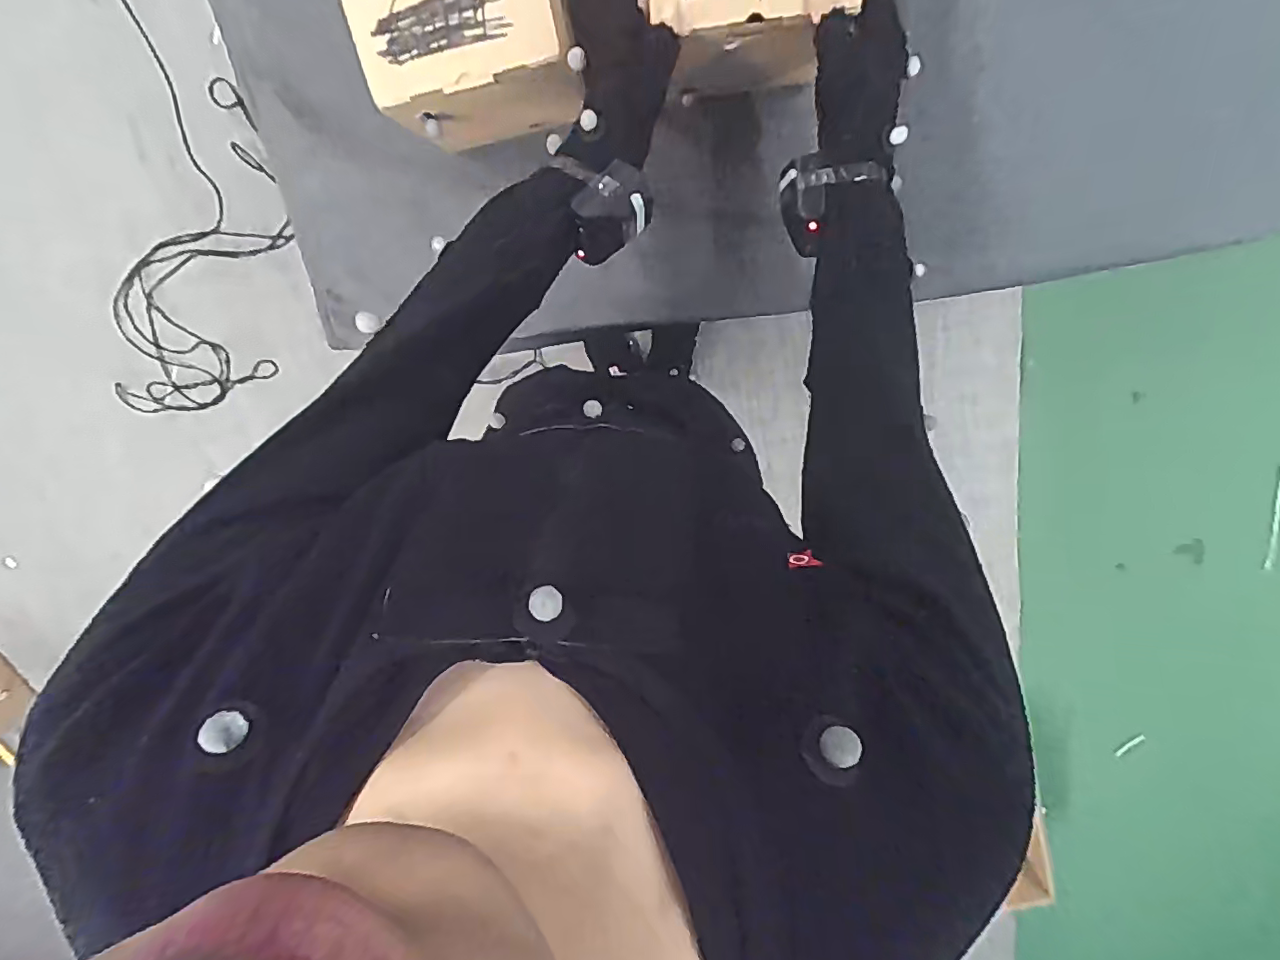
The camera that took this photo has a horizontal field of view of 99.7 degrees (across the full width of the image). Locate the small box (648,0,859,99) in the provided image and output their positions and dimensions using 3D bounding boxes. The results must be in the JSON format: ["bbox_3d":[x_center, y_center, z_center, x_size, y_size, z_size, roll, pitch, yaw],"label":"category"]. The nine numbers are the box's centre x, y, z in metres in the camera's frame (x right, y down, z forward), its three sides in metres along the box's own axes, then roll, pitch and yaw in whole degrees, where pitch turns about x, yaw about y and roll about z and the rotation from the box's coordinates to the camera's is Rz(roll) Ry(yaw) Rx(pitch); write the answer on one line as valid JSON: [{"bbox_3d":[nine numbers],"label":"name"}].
[{"bbox_3d":[0.089,-0.463,0.476,0.168,0.176,0.179,-4,109,5],"label":"small box"}]
